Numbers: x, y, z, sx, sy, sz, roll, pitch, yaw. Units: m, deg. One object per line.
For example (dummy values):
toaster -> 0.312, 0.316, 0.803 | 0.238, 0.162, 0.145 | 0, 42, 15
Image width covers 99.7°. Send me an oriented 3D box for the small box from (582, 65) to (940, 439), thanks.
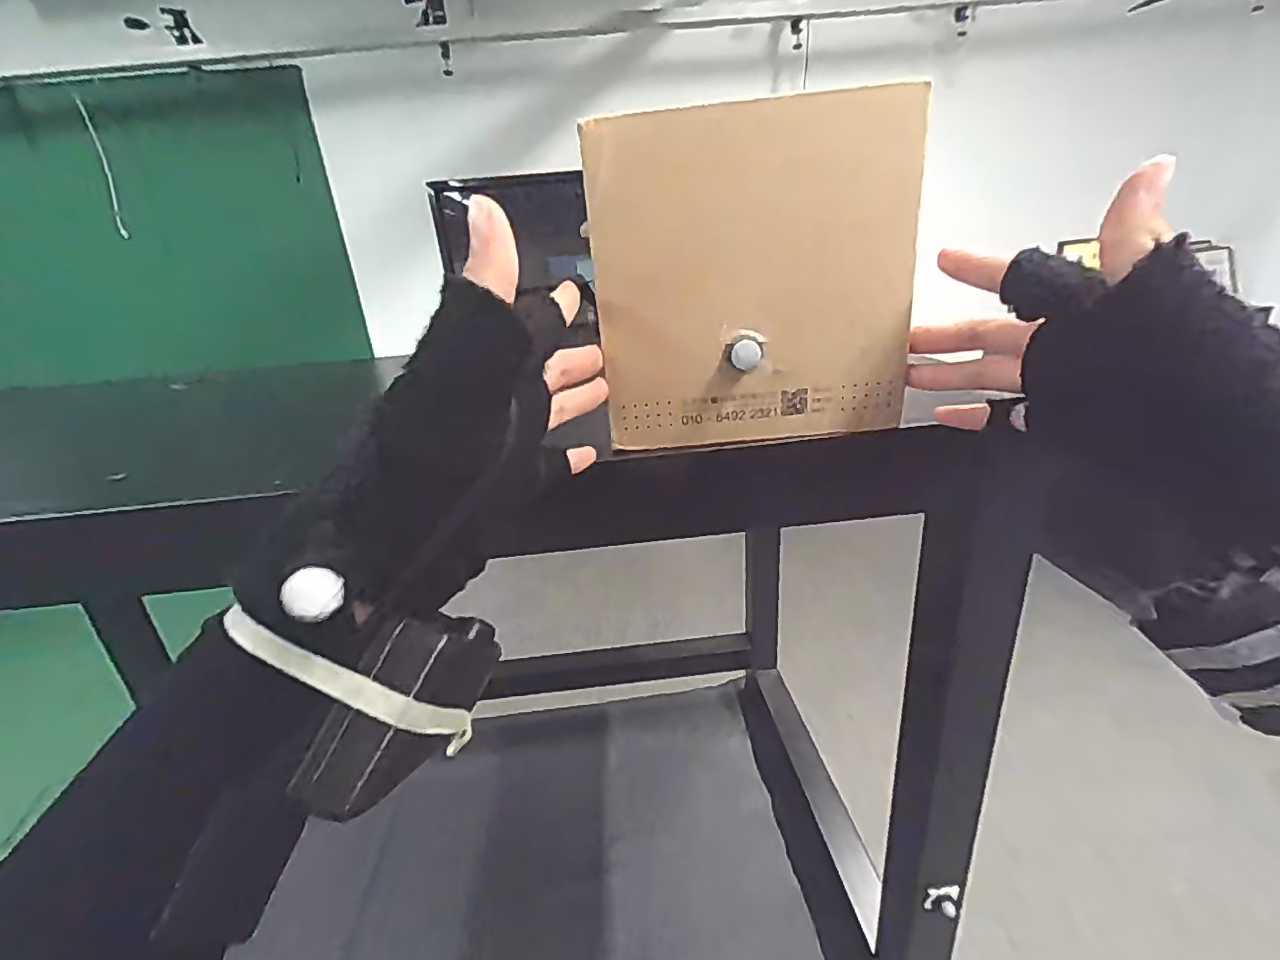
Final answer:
small box -> 0.062, -0.131, 0.351 | 0.168, 0.176, 0.179 | -5, 21, 3
